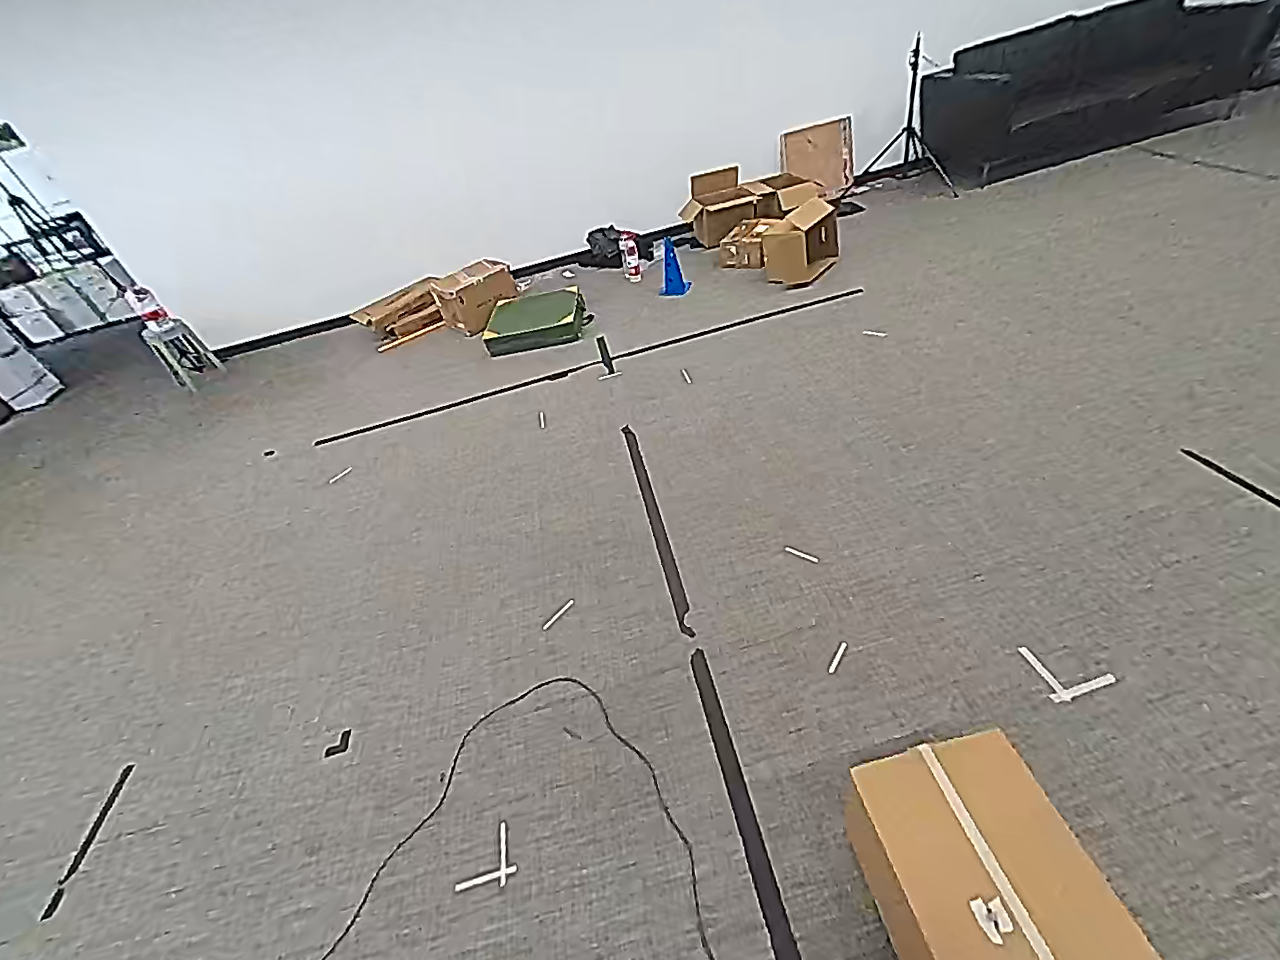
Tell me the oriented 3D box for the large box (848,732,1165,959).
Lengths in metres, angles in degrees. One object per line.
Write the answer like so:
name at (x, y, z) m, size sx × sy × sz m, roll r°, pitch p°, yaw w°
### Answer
large box at (0.633, 0.767, 1.013) m, size 0.320 × 0.320 × 0.408 m, roll -16°, pitch 40°, yaw 1°
